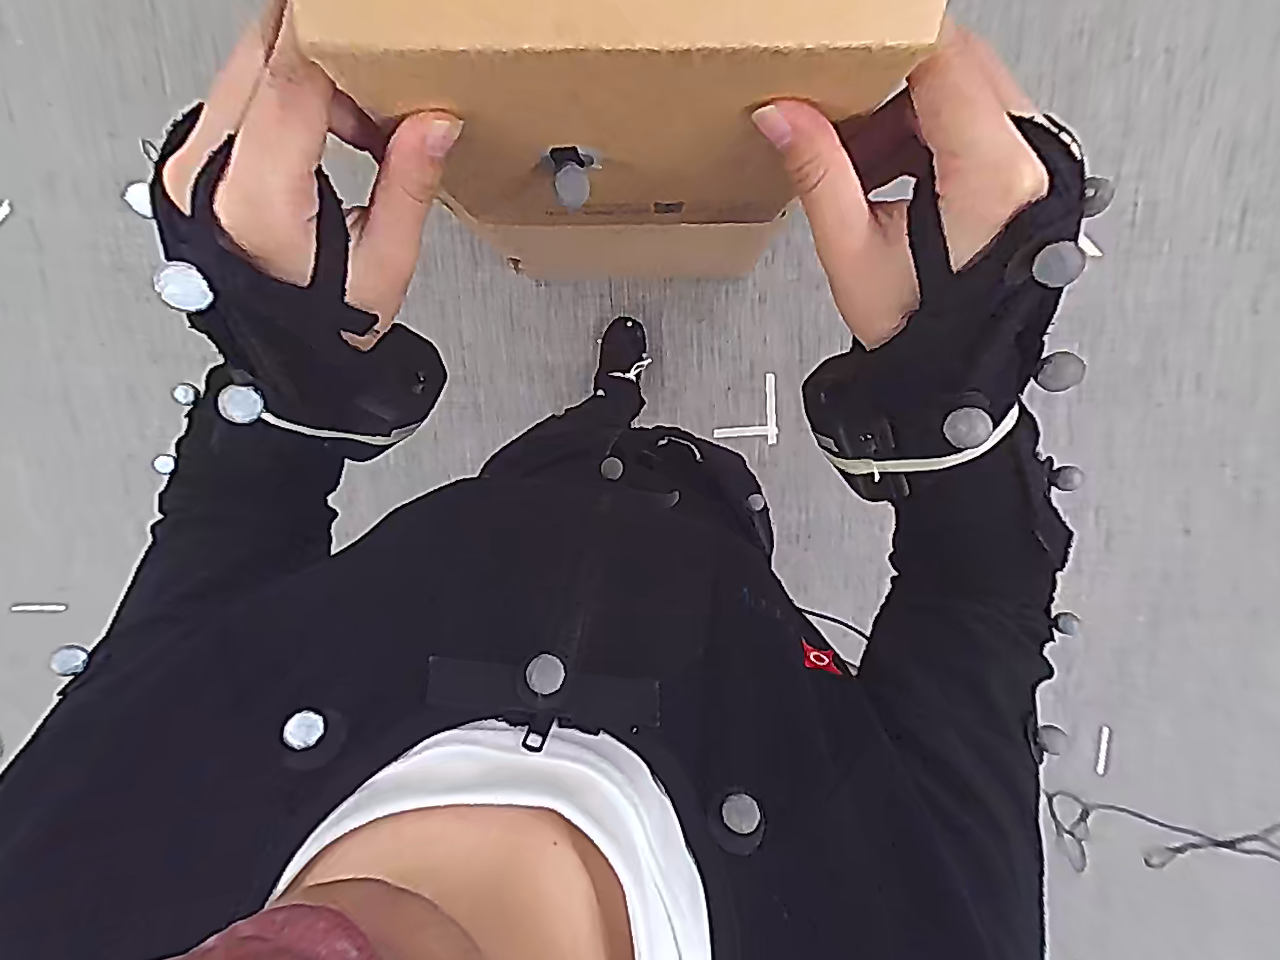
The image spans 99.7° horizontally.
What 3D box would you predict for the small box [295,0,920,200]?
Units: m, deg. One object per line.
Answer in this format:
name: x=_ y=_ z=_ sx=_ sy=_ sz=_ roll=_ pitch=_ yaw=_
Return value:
small box: x=-0.008 y=-0.217 z=0.198 sx=0.168 sy=0.176 sz=0.179 roll=-1 pitch=100 yaw=-1
